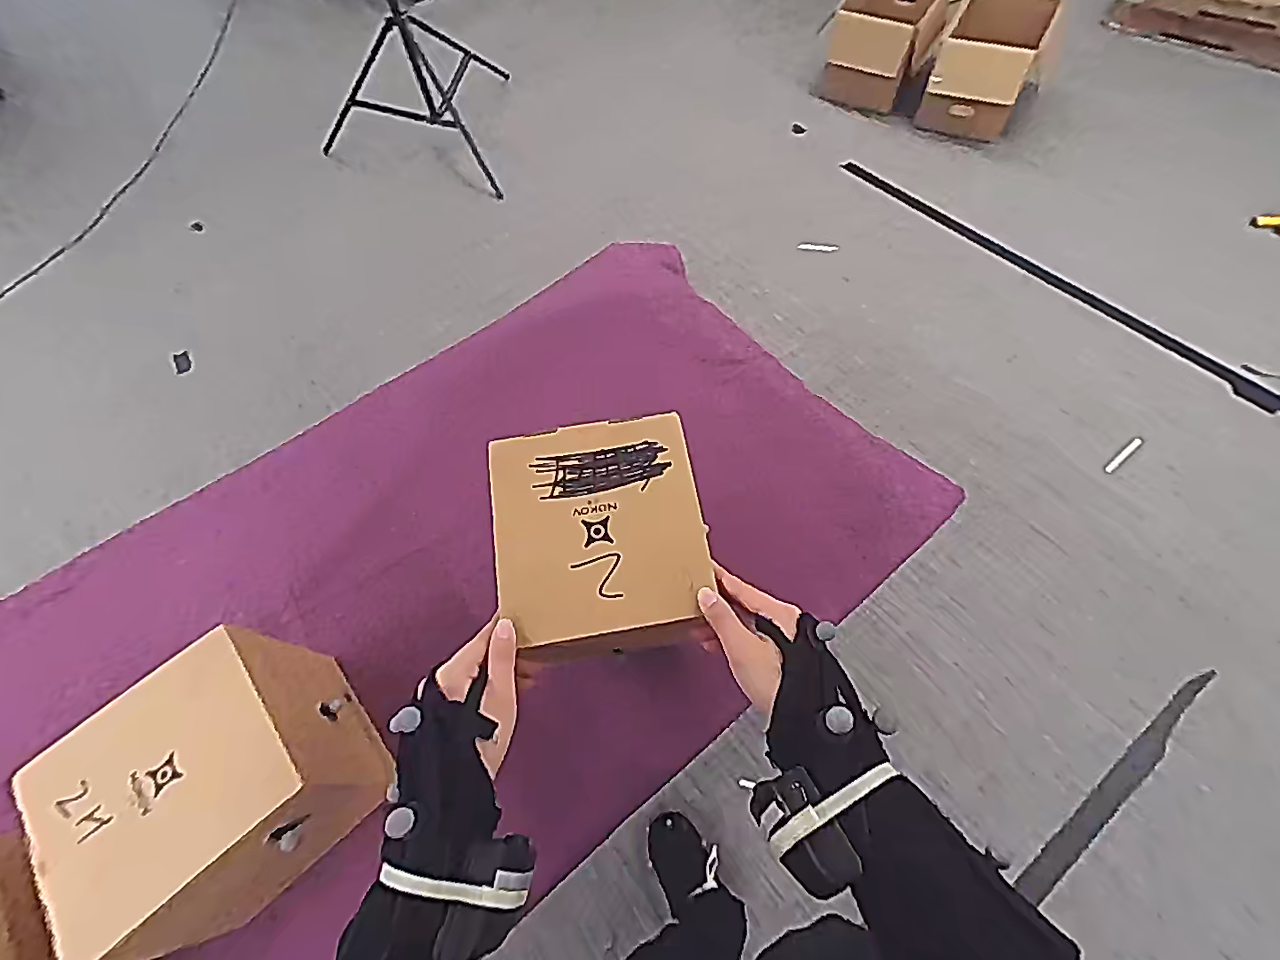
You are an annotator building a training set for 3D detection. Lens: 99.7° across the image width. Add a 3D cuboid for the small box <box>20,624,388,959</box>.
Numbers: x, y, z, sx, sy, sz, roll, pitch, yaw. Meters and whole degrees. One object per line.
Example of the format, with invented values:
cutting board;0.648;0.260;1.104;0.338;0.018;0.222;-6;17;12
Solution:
small box;-0.356;0.263;0.479;0.179;0.176;0.168;-40;65;-16
